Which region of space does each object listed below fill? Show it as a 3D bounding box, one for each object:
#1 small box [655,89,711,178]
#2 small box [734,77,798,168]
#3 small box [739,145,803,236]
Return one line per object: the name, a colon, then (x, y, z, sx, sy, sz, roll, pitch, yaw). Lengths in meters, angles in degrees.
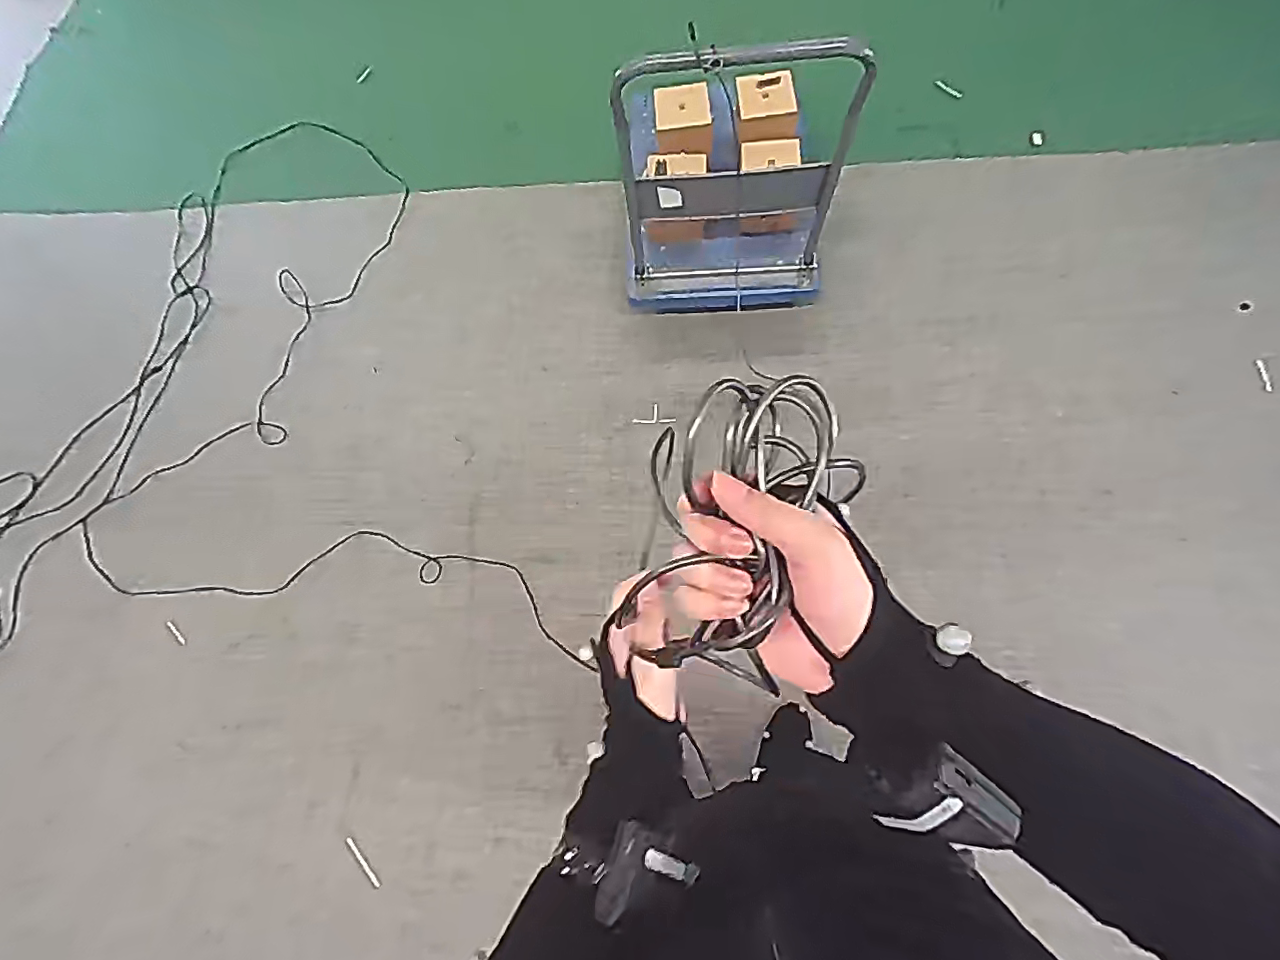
small box: (0.139, -1.092, 1.720, 0.168, 0.176, 0.179, -4, 71, 4)
small box: (0.389, -1.114, 1.699, 0.168, 0.176, 0.179, -5, 71, 6)
small box: (0.384, -0.858, 1.611, 0.168, 0.176, 0.179, 0, 72, 6)
